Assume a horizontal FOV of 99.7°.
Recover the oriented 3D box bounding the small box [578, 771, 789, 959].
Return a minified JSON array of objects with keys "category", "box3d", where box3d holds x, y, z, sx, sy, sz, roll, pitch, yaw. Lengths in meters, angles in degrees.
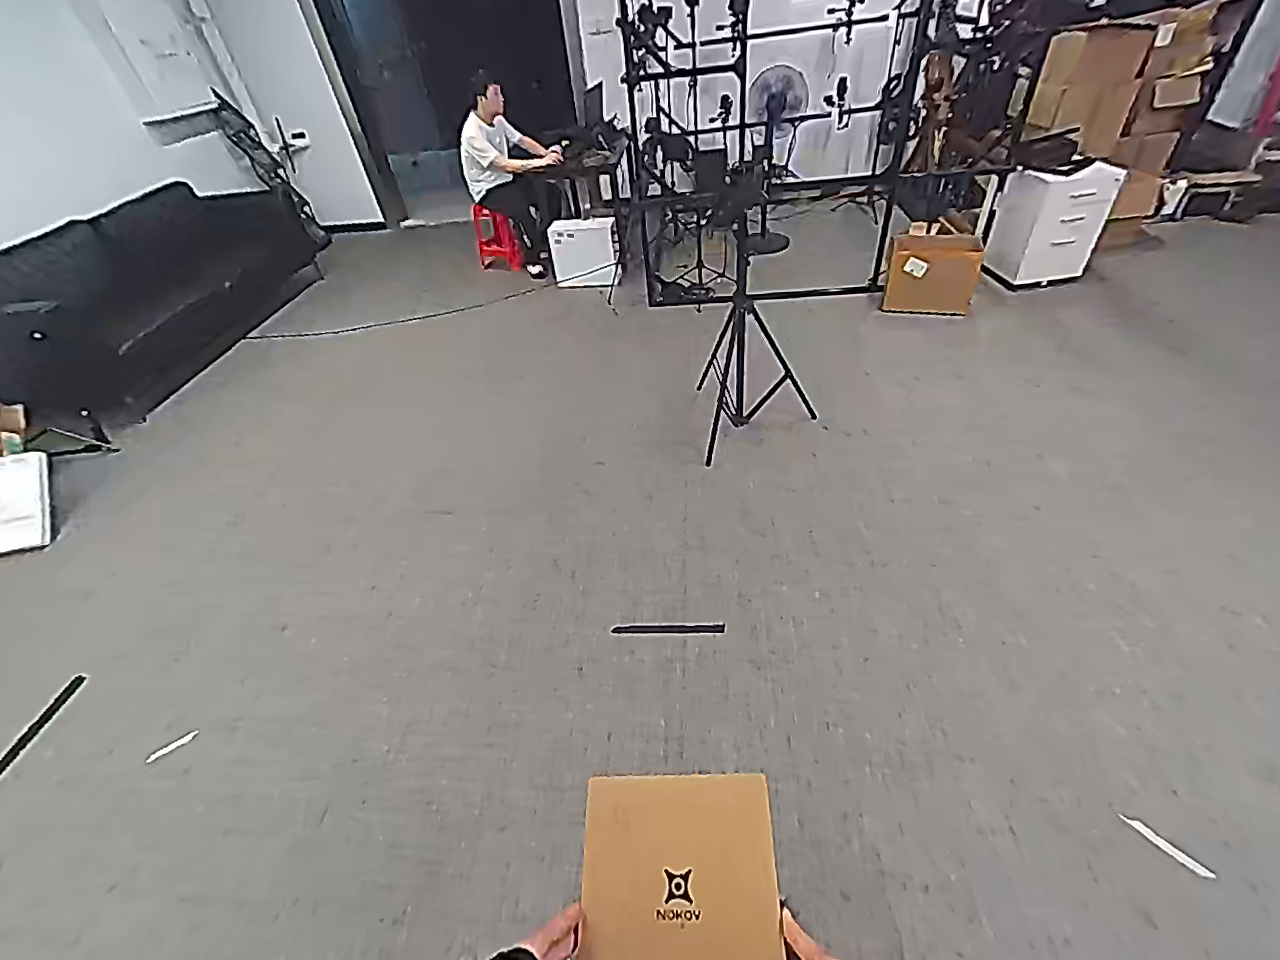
[{"category":"small box","box3d":[0.044,0.386,0.502,0.168,0.176,0.179,-6,52,8]}]
